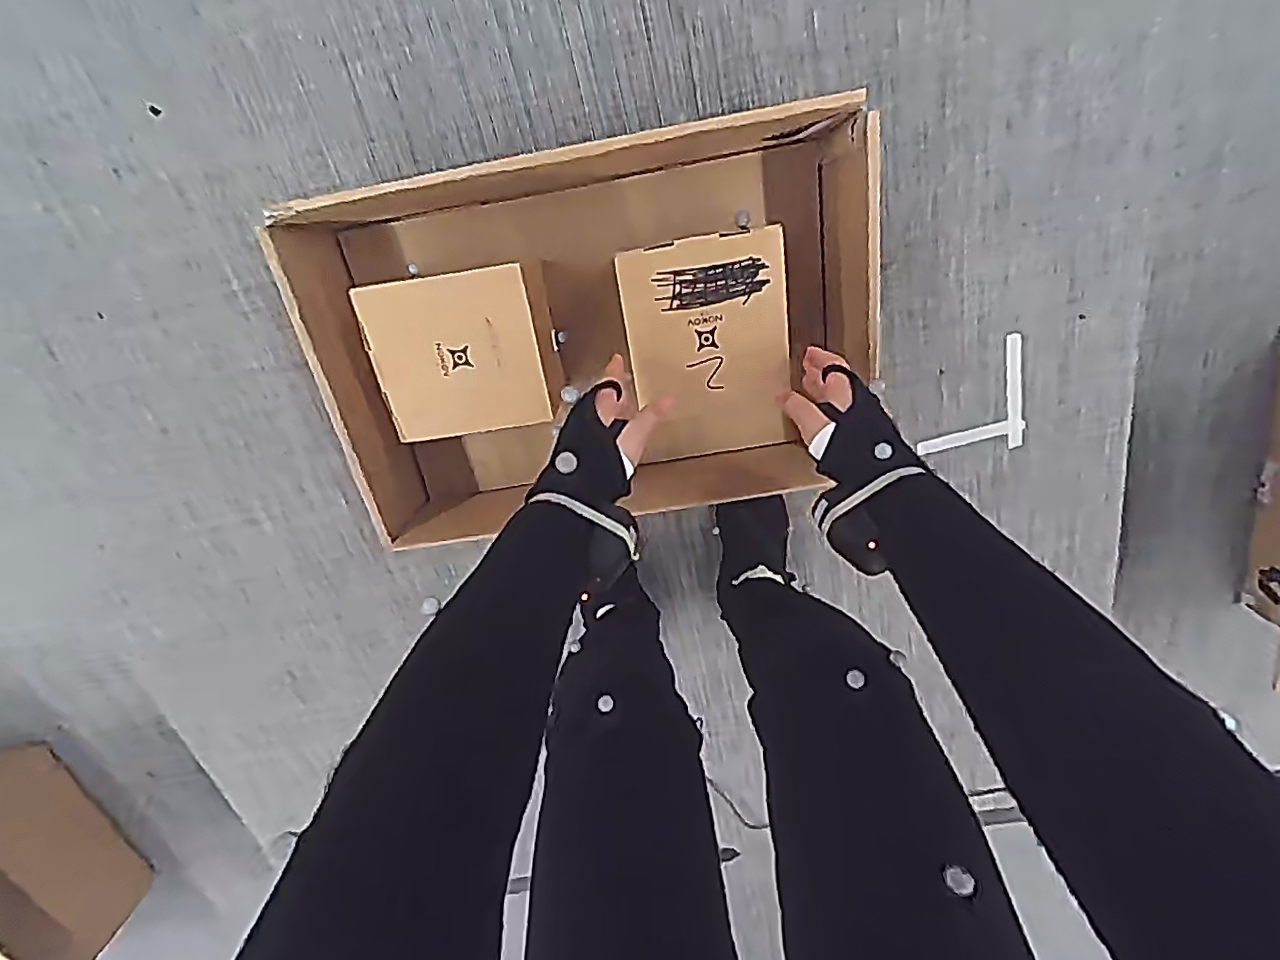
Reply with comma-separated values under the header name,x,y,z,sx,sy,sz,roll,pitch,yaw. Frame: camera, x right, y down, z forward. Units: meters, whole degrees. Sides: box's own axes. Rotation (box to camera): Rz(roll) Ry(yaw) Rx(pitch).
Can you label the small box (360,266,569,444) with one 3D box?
name,x,y,z,sx,sy,sz,roll,pitch,yaw
small box,-0.191,-0.157,0.648,0.179,0.176,0.168,-9,114,1
